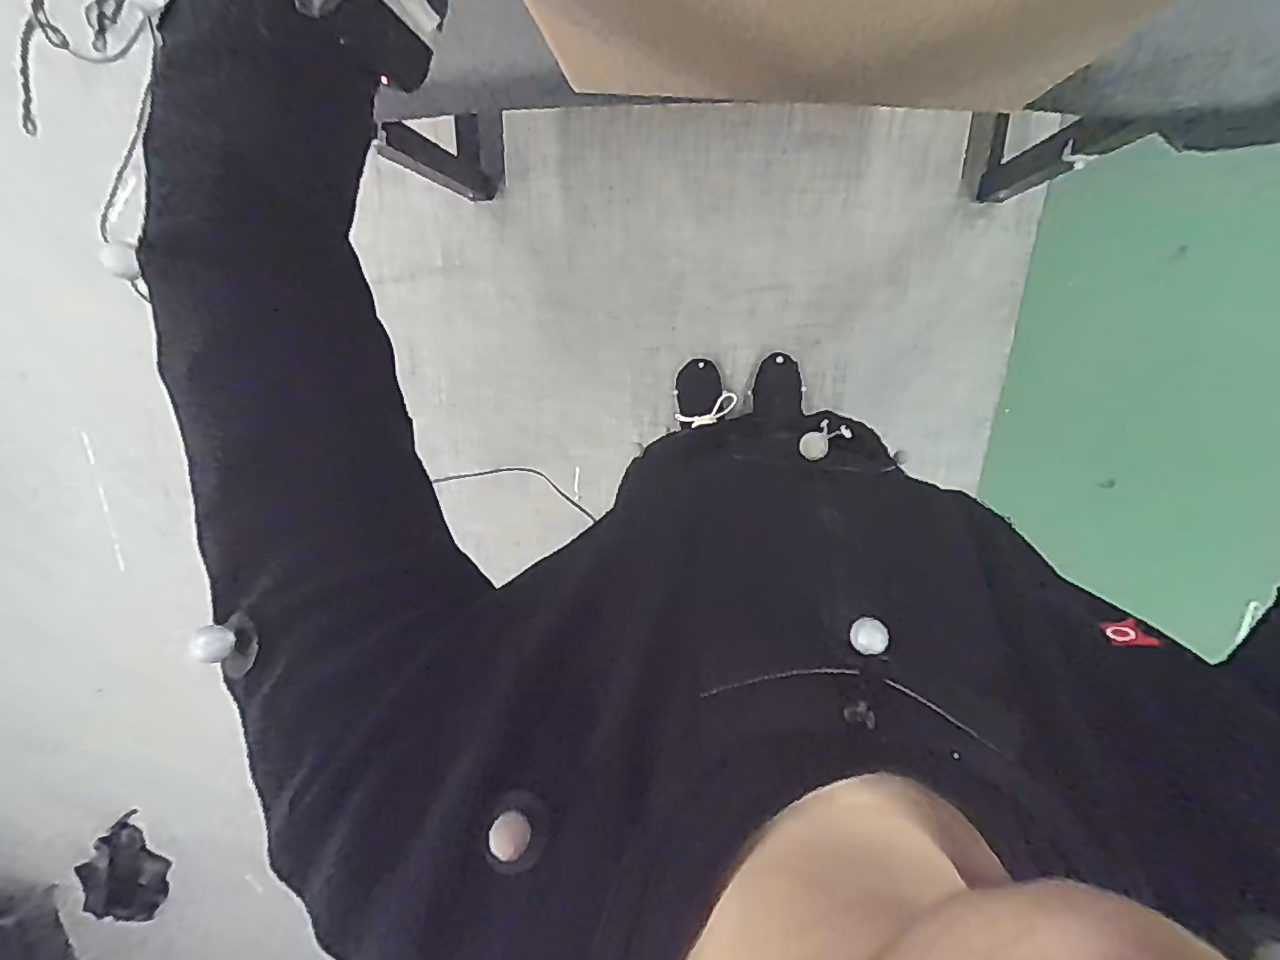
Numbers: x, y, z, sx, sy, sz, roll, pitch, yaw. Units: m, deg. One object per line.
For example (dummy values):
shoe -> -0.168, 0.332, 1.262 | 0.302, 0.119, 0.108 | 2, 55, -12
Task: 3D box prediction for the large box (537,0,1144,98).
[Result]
large box -> 0.129, -0.457, 0.310 | 0.408, 0.320, 0.320 | 5, 107, 4
